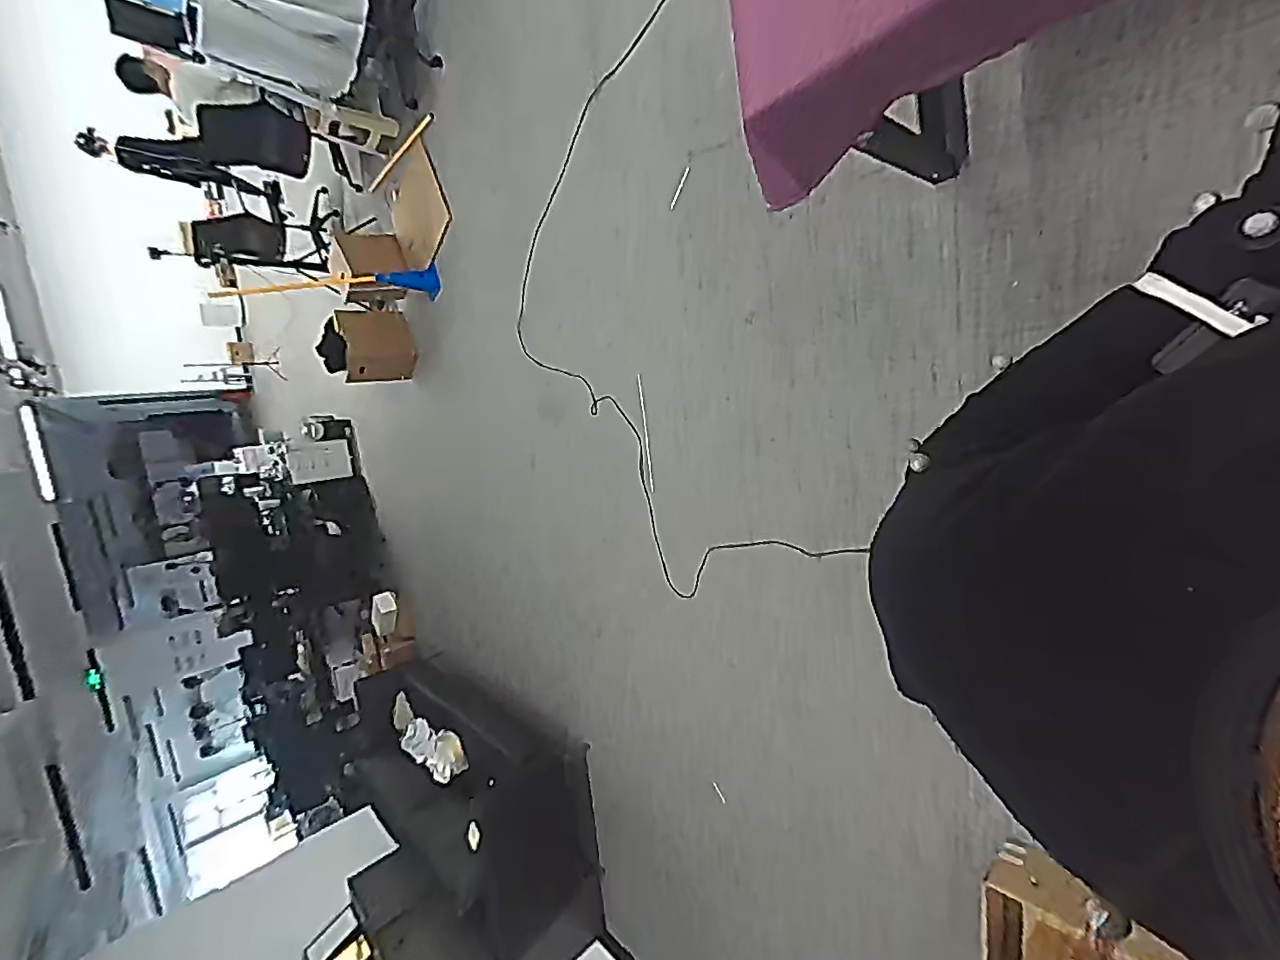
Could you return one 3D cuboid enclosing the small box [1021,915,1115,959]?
[{"bbox_3d":[1.039,1.222,1.309,0.168,0.176,0.179,3,102,48],"label":"small box"}]
